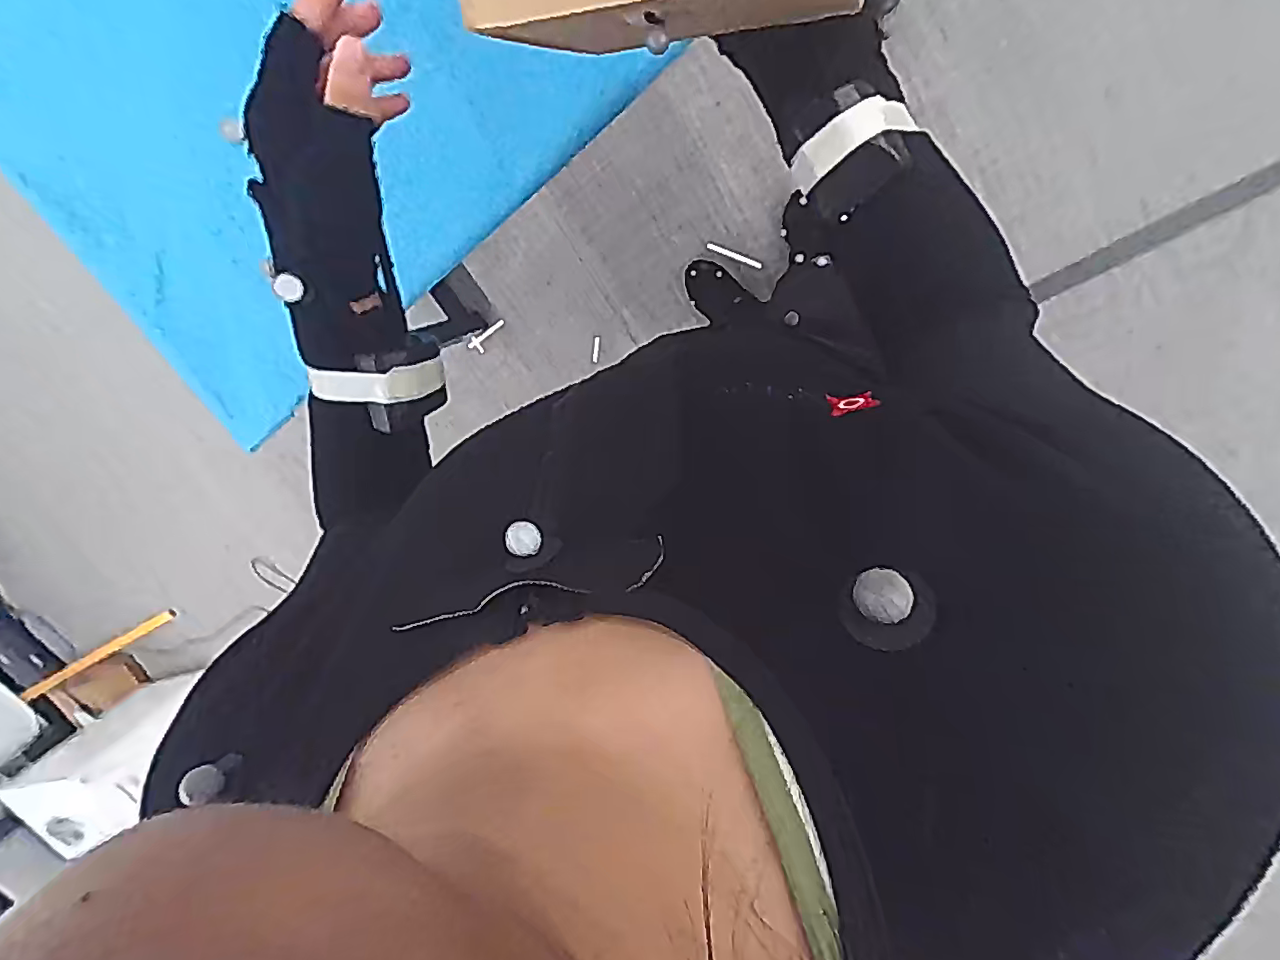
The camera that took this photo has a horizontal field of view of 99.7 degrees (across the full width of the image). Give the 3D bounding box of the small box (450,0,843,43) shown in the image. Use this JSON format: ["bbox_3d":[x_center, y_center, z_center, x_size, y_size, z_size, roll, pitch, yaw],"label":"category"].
[{"bbox_3d":[0.016,-0.310,0.239,0.179,0.176,0.168,8,127,18],"label":"small box"}]
